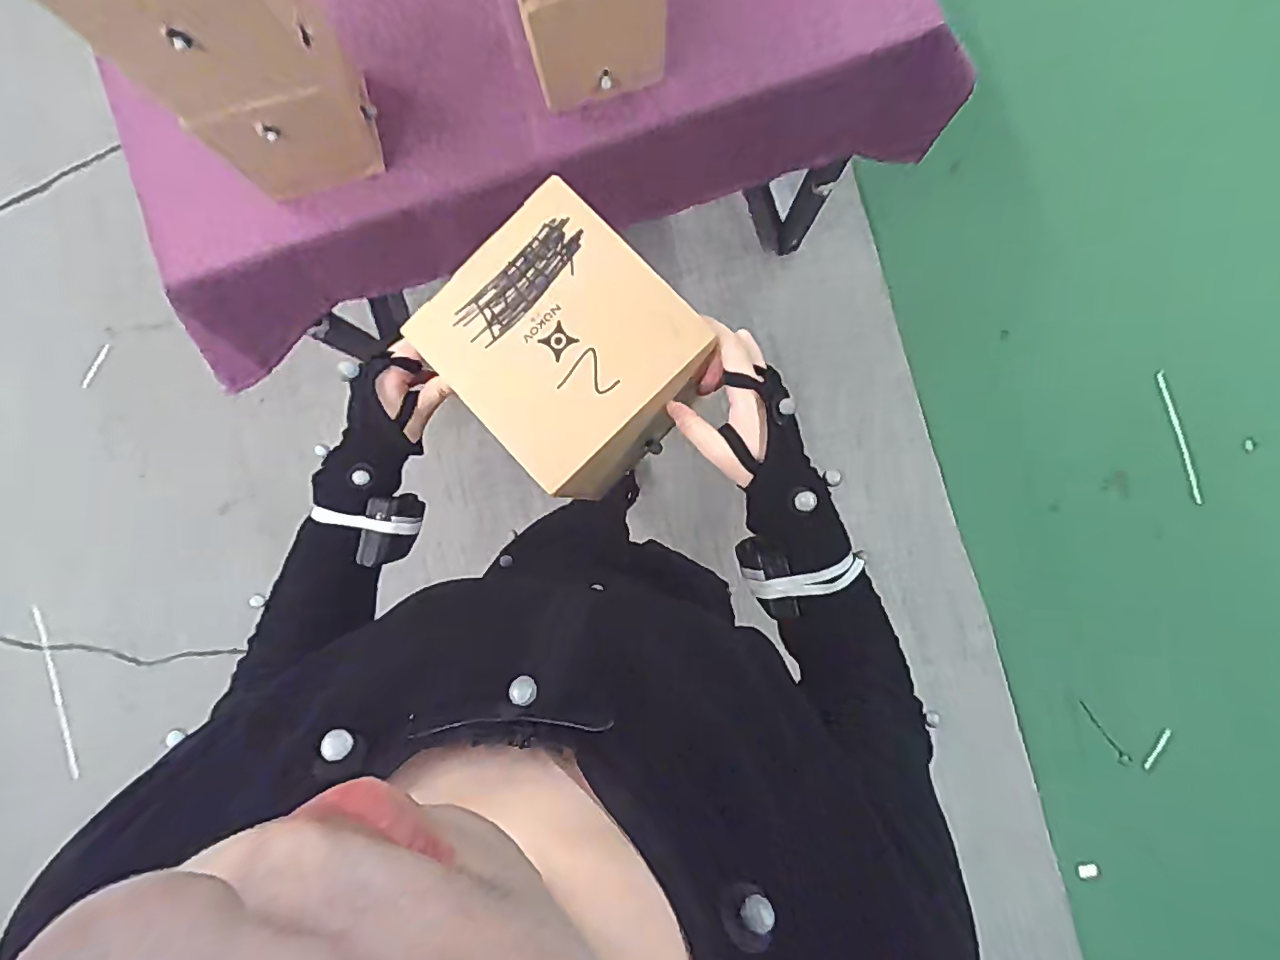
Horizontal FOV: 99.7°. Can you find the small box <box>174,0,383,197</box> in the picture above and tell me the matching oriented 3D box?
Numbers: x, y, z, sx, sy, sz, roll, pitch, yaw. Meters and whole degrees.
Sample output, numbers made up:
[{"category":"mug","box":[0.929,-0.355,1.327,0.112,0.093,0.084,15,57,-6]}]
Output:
[{"category":"small box","box":[-0.477,-0.508,0.715,0.179,0.176,0.168,-15,88,-1]}]

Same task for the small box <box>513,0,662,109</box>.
[{"category":"small box","box":[-0.078,-0.642,0.717,0.179,0.176,0.168,-16,87,-1]}]

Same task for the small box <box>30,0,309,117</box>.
[{"category":"small box","box":[-0.474,-0.519,0.551,0.179,0.176,0.168,-16,88,0]}]
